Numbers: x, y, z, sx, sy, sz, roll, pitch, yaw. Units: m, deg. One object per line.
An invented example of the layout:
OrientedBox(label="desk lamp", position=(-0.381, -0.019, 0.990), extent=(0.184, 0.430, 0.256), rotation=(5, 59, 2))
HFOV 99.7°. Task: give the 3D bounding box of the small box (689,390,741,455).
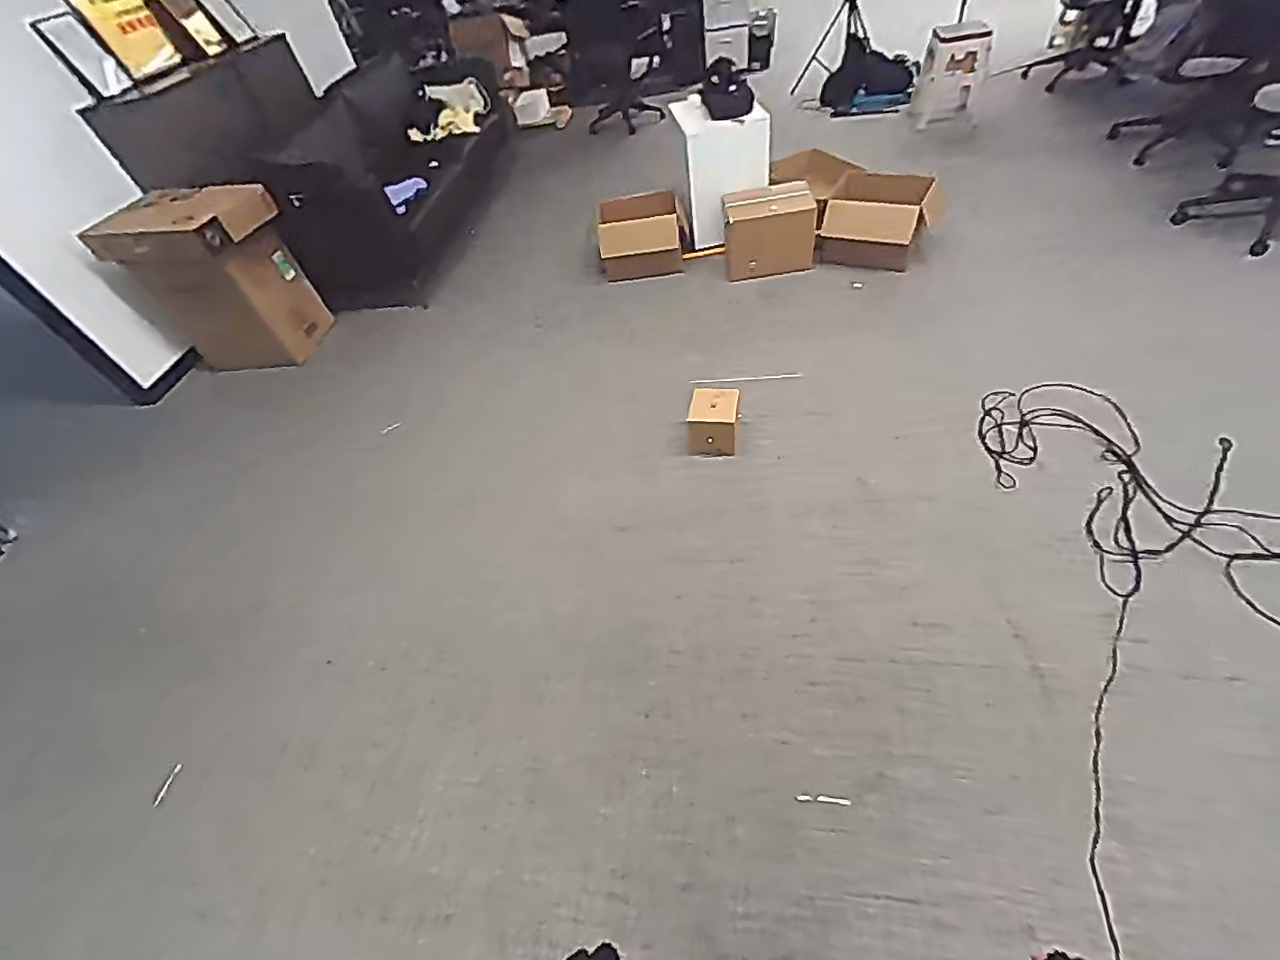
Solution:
OrientedBox(label="small box", position=(0.281, -0.210, 1.986), extent=(0.168, 0.176, 0.179), rotation=(4, 51, 15))
